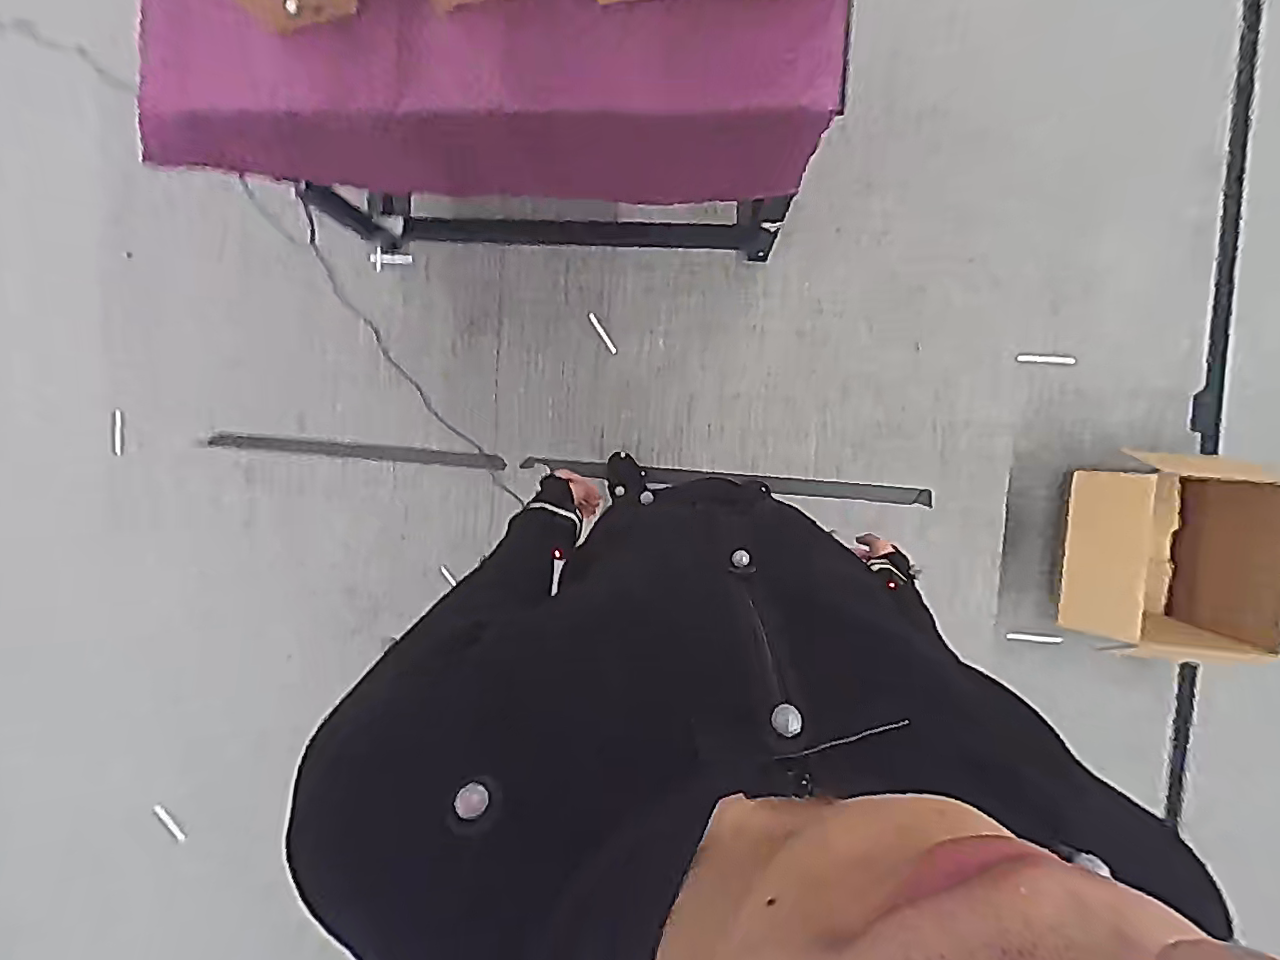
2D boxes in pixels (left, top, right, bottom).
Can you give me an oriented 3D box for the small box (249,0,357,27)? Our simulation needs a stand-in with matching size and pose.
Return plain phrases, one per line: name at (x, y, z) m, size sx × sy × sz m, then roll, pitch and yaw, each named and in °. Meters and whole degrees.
small box at (-0.567, -0.856, 0.824) m, size 0.168 × 0.176 × 0.179 m, roll -10°, pitch 93°, yaw 5°
